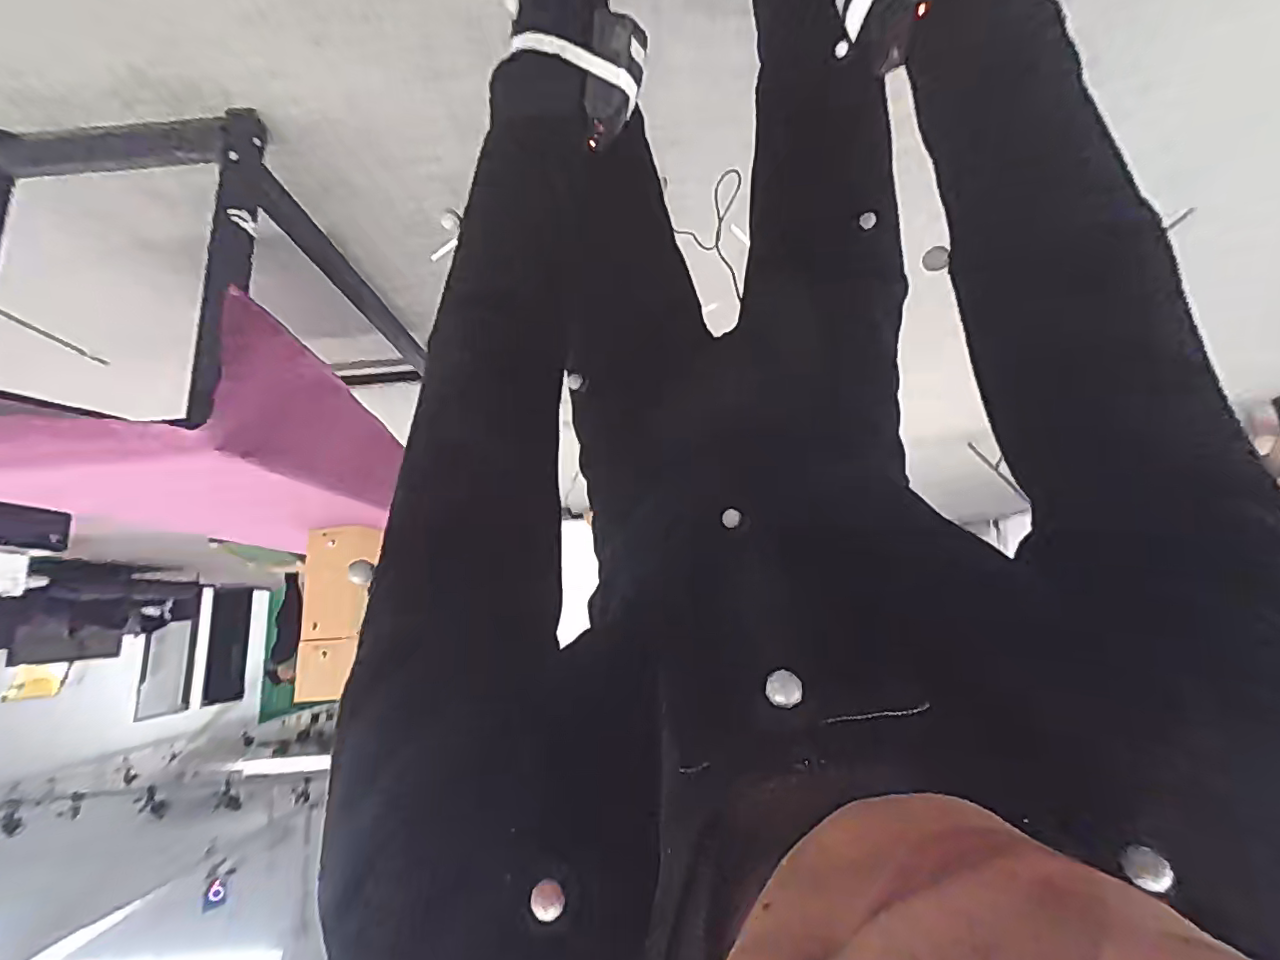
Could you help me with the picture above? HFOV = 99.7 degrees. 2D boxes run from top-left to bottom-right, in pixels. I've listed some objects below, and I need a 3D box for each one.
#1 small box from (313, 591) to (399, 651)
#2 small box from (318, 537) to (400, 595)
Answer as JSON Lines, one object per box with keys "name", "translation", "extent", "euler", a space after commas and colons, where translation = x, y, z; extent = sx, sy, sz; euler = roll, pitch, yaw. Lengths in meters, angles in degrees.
{"name": "small box", "translation": [-0.877, 0.439, 1.687], "extent": [0.179, 0.176, 0.168], "euler": [-8, 165, 12]}
{"name": "small box", "translation": [-0.885, 0.277, 1.721], "extent": [0.168, 0.176, 0.179], "euler": [-7, 164, 10]}
